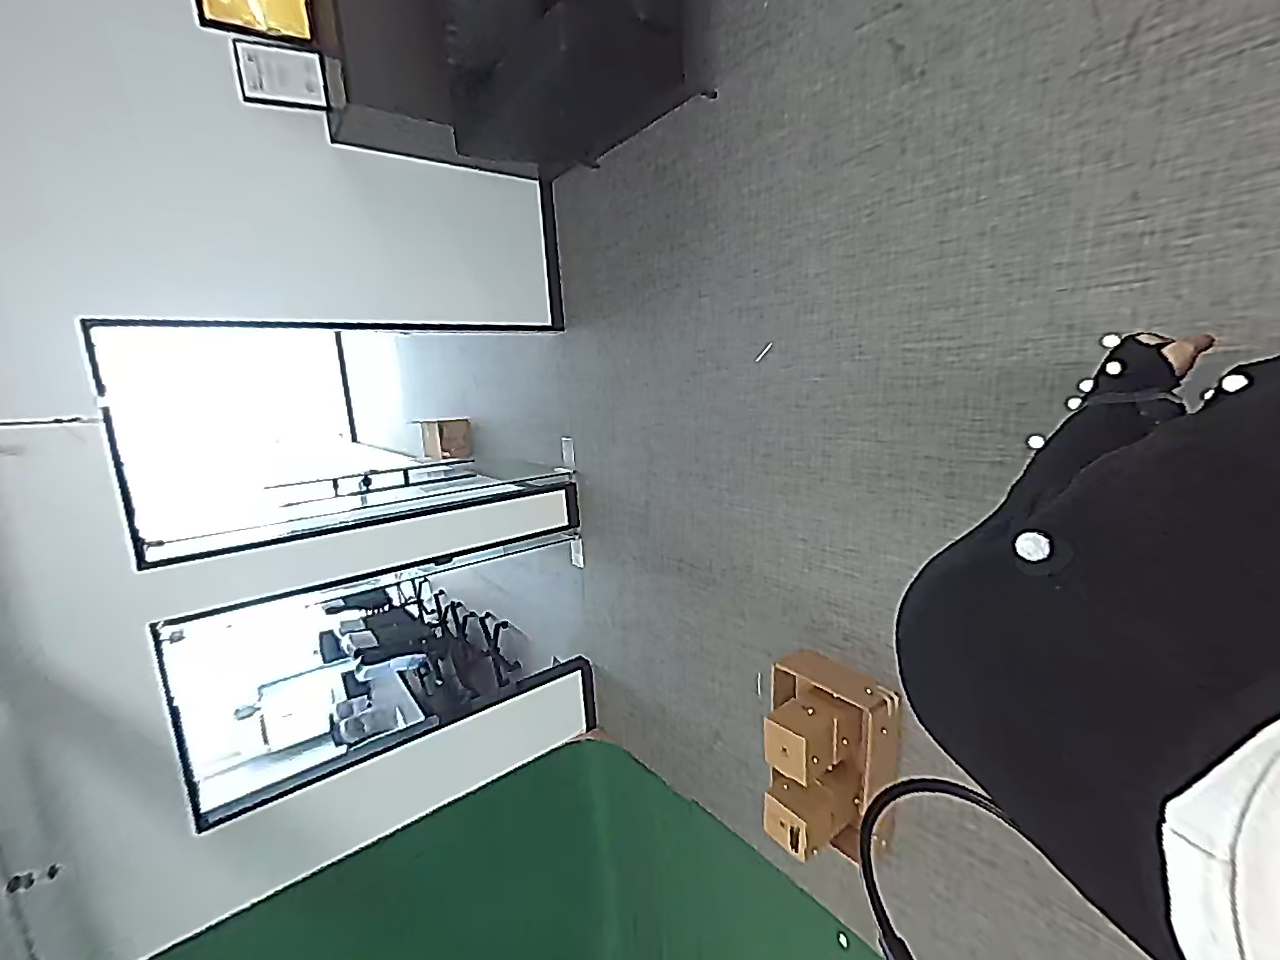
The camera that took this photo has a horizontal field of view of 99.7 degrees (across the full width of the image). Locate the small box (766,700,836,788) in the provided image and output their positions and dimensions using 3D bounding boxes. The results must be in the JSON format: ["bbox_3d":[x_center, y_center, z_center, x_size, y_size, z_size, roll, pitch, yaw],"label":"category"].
[{"bbox_3d":[0.546,0.883,1.825,0.168,0.176,0.179,9,106,51],"label":"small box"}]
